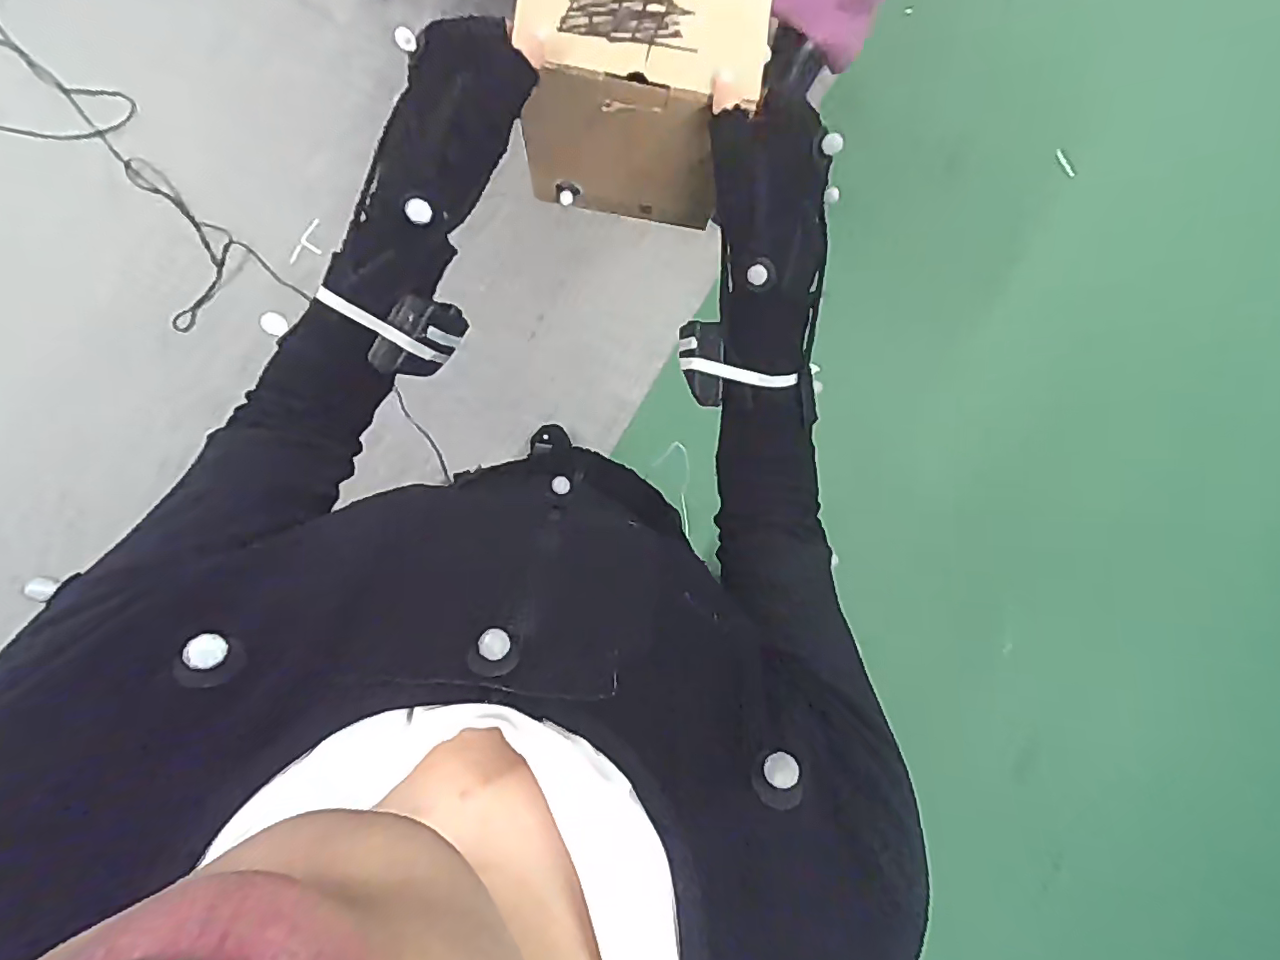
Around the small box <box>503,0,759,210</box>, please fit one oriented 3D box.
[{"bbox_3d":[-0.003,-0.350,0.435,0.168,0.176,0.179,8,87,-5],"label":"small box"}]
